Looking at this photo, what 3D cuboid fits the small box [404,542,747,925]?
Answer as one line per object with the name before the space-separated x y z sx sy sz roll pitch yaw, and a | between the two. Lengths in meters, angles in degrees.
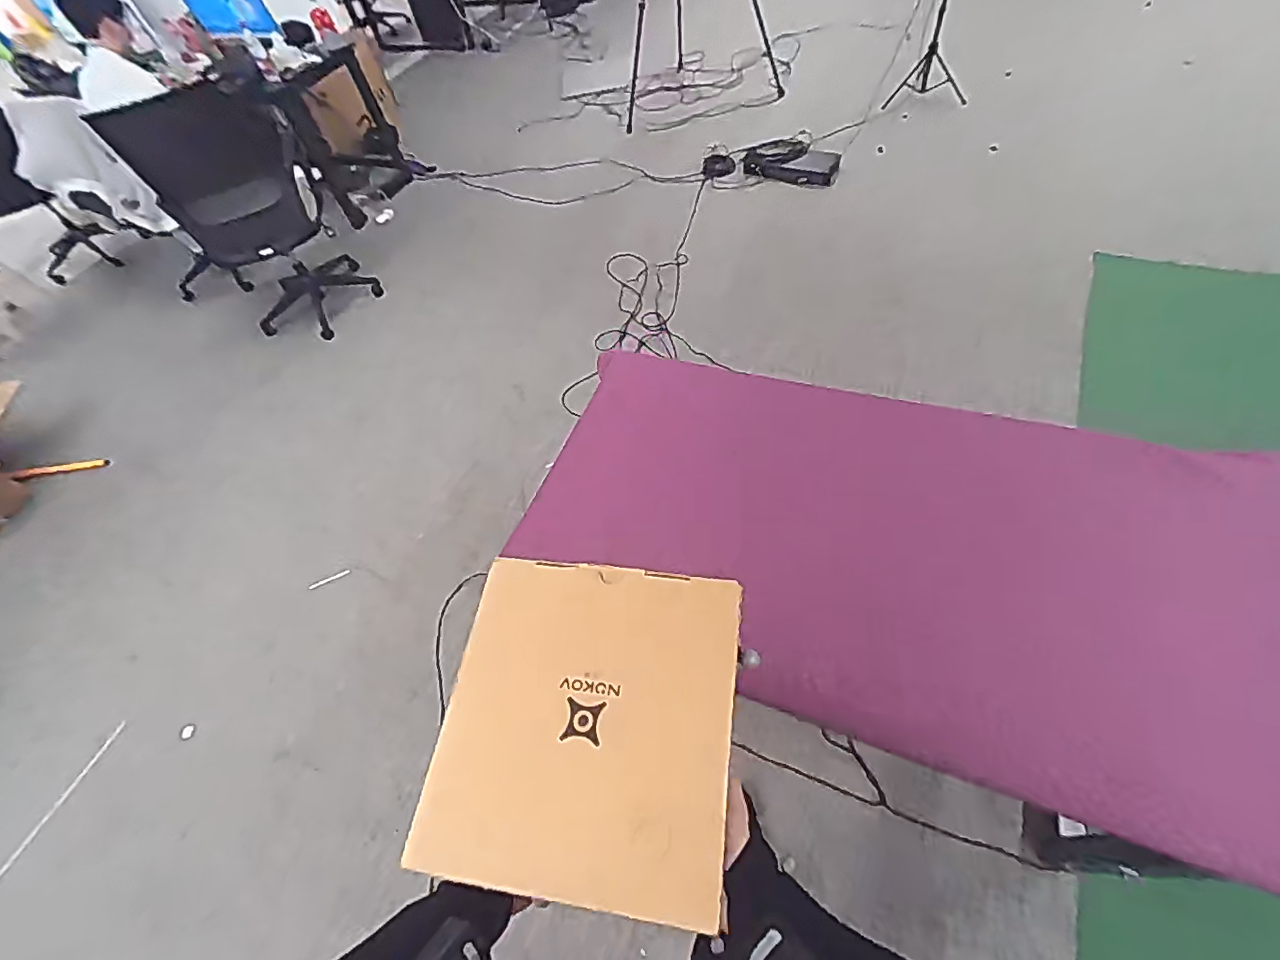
small box | -0.019 0.162 0.369 0.168 0.176 0.179 5 59 10
